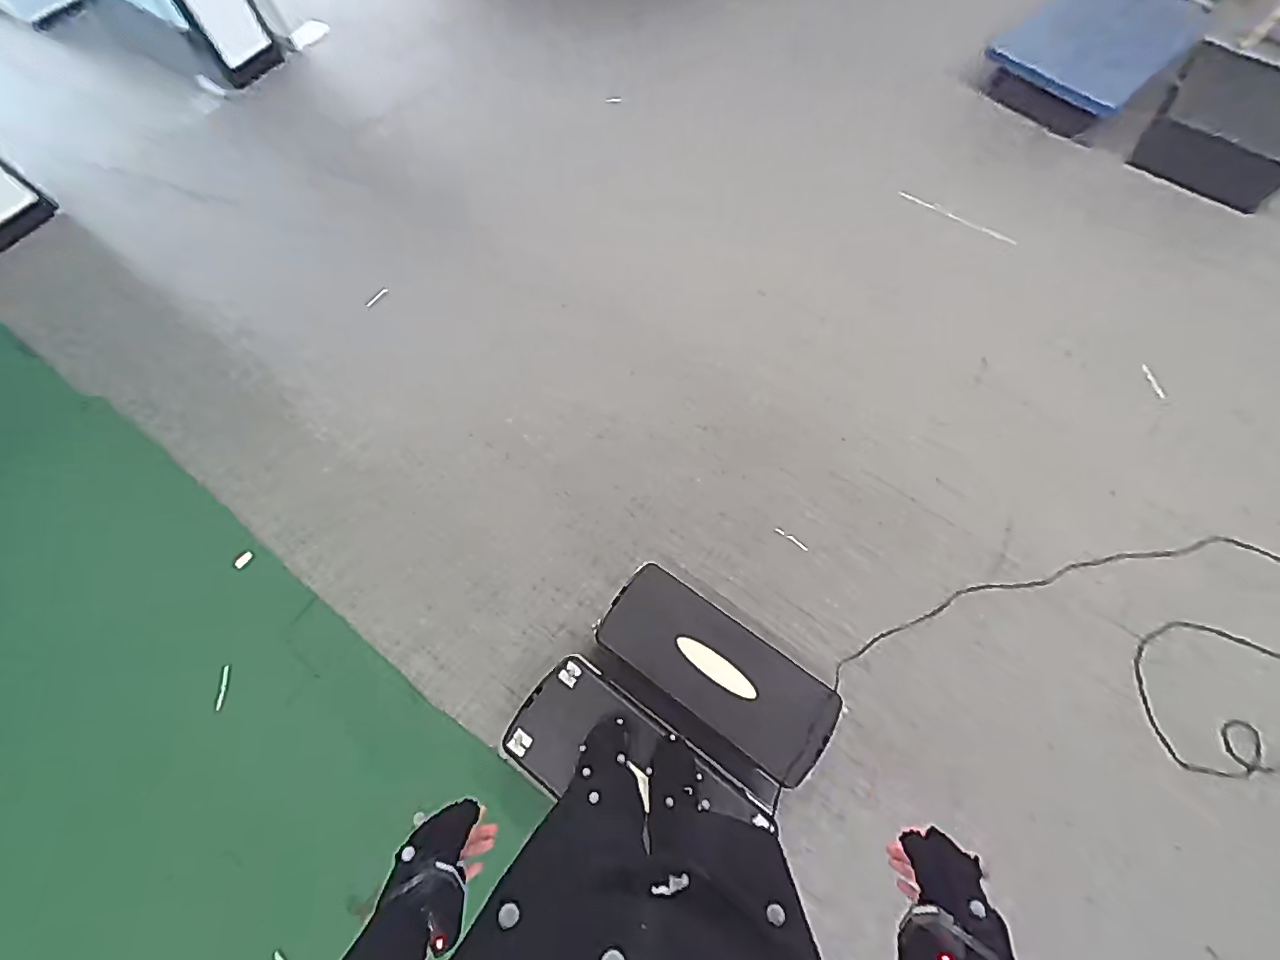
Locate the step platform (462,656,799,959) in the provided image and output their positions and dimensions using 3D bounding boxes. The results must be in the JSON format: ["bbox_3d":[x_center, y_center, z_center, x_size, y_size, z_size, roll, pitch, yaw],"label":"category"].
[{"bbox_3d":[-0.030,0.685,1.147,0.684,0.204,0.286,35,72,12],"label":"step platform"}]
